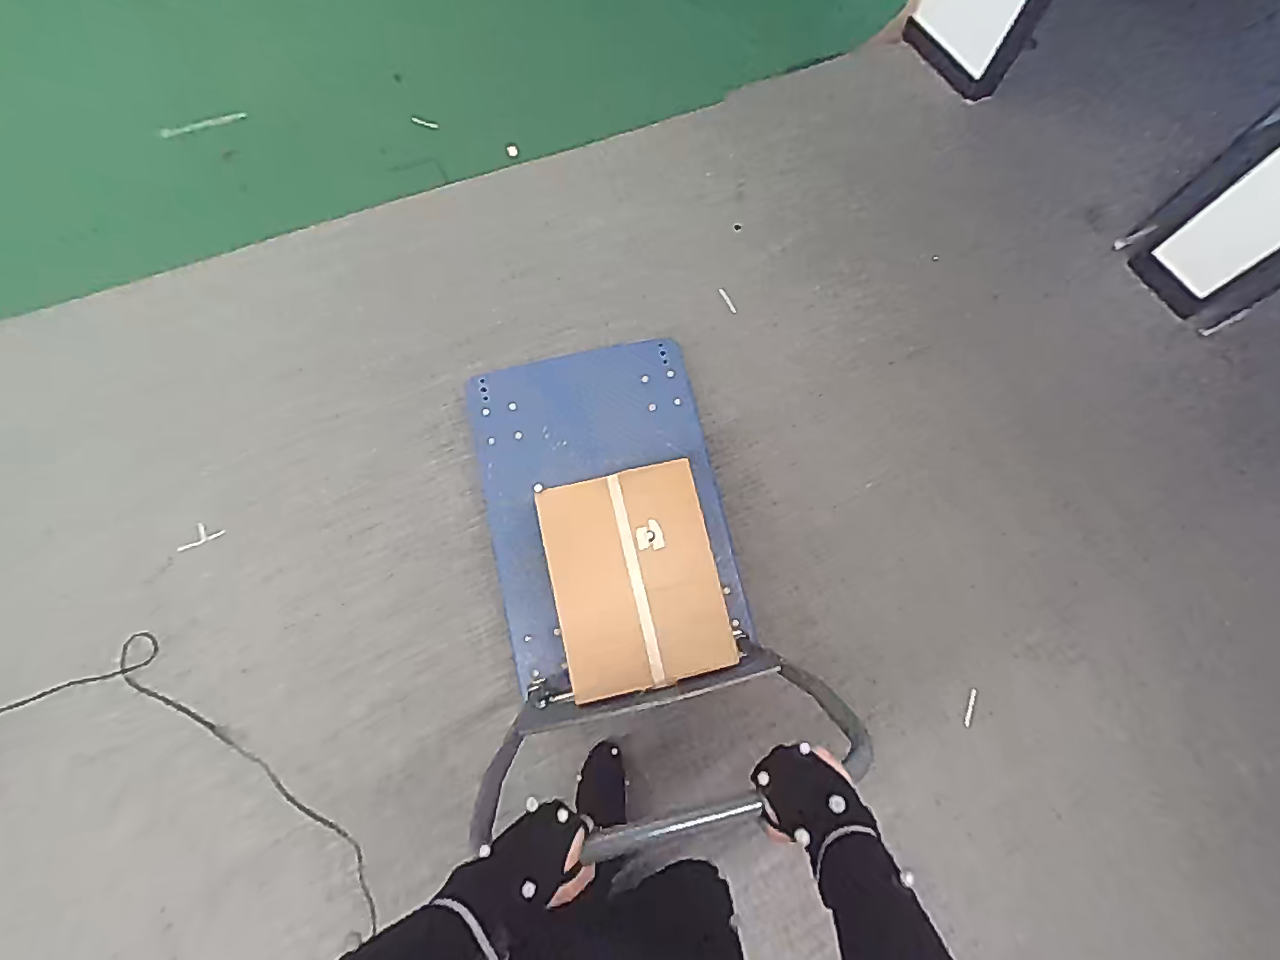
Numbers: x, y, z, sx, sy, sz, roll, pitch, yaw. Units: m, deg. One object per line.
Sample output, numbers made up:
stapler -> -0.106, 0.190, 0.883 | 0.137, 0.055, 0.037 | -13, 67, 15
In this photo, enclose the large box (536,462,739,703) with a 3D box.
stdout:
large box -> -0.012, 0.219, 1.177 | 0.320, 0.320, 0.408 | -13, 78, -5
